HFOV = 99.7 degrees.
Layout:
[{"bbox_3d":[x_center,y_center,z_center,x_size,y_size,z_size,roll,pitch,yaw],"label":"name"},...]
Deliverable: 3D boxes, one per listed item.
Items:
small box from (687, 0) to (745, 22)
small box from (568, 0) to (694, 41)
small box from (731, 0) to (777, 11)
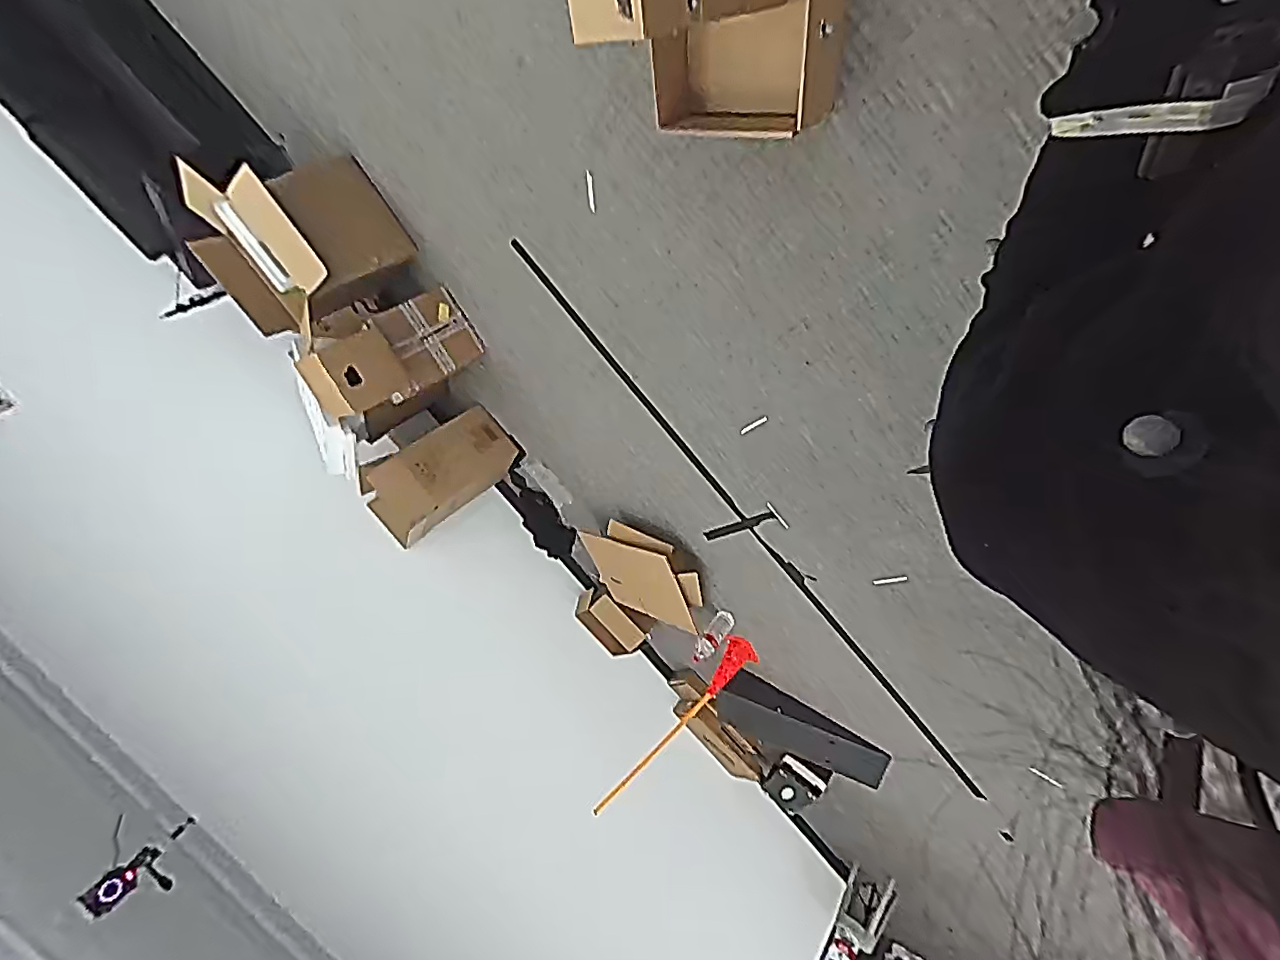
[{"bbox_3d":[0.091,-0.989,1.030,0.179,0.176,0.168,25,144,30],"label":"small box"},{"bbox_3d":[-0.015,-0.893,0.948,0.179,0.176,0.168,27,144,32],"label":"small box"},{"bbox_3d":[0.193,-1.083,1.113,0.179,0.176,0.168,27,144,29],"label":"small box"}]
